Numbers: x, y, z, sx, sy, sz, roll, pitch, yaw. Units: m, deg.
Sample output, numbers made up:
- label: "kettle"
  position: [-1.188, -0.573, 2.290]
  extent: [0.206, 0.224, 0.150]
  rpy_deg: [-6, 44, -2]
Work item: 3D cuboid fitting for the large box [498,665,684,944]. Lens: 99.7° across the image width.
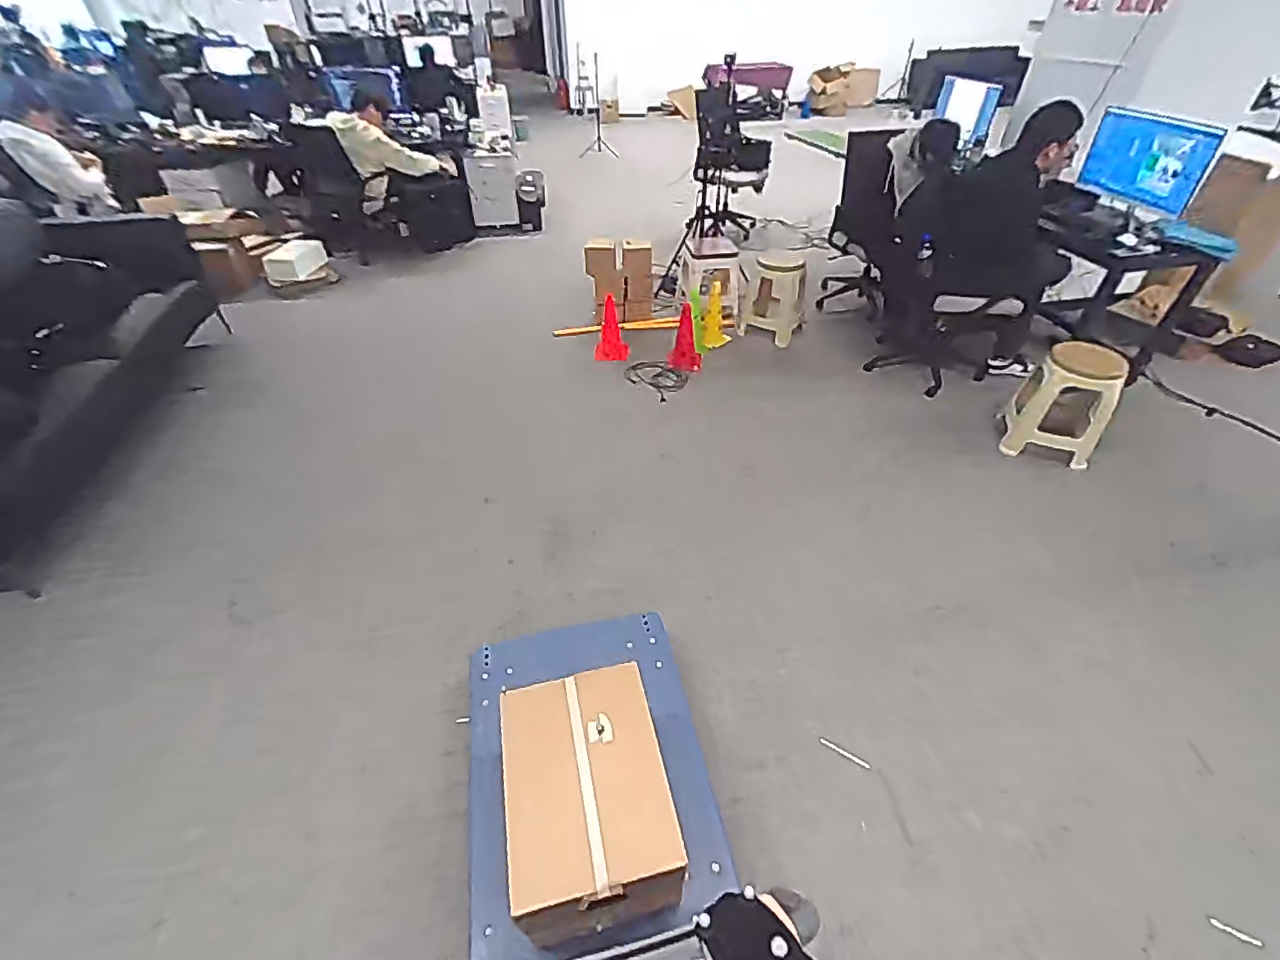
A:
- label: "large box"
  position: [-0.111, 0.691, 1.178]
  extent: [0.320, 0.320, 0.408]
  rpy_deg: [-10, 43, -10]
